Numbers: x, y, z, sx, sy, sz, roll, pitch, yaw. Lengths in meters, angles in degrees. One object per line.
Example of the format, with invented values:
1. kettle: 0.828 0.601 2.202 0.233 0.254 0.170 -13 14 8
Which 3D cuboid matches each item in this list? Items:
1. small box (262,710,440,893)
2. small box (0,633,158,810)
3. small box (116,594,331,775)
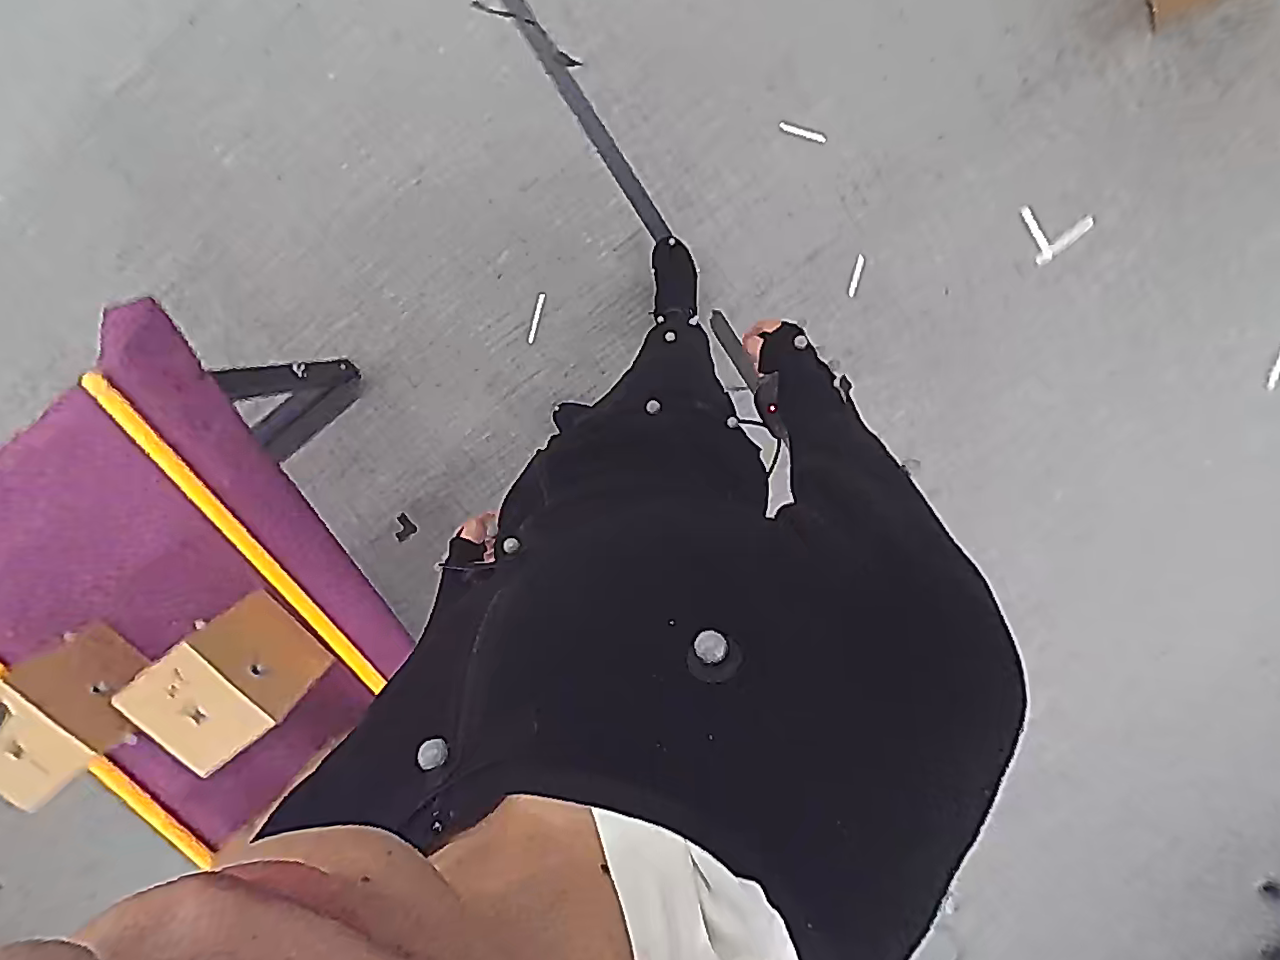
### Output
1. small box: -0.481 0.542 0.930 0.179 0.176 0.168 -35 103 8
2. small box: -0.923 0.376 0.880 0.168 0.176 0.179 -38 103 7
3. small box: -0.648 0.318 0.869 0.168 0.176 0.179 -36 102 9
